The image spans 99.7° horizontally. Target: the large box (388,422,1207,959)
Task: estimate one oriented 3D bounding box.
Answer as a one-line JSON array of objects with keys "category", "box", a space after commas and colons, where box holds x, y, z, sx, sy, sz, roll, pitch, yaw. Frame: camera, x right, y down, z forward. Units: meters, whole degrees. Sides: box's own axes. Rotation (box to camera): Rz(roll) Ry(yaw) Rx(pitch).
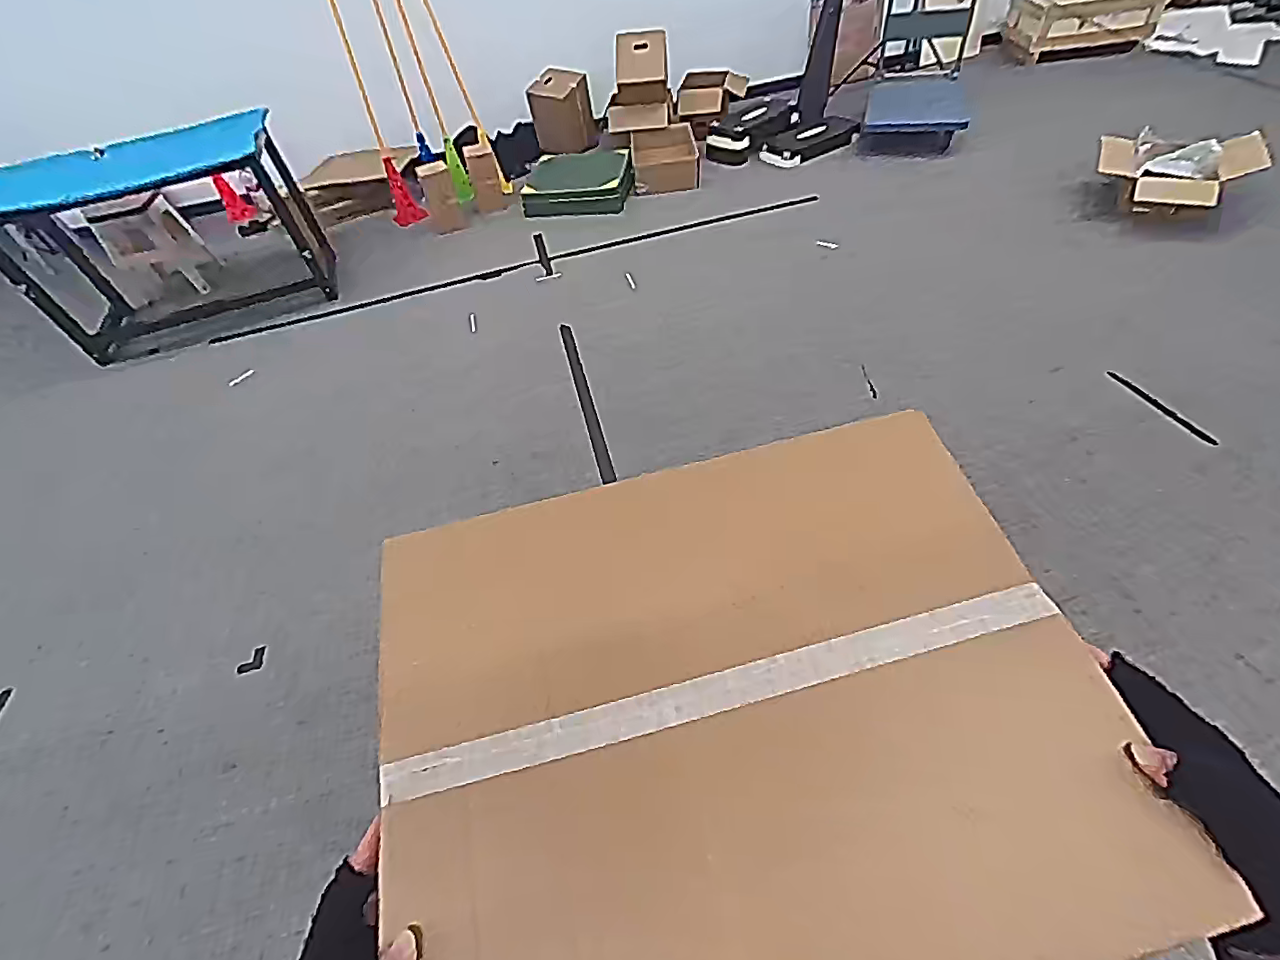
[{"category": "large box", "box": [0.062, 0.206, 0.450, 0.408, 0.320, 0.320, -15, 58, -4]}]
